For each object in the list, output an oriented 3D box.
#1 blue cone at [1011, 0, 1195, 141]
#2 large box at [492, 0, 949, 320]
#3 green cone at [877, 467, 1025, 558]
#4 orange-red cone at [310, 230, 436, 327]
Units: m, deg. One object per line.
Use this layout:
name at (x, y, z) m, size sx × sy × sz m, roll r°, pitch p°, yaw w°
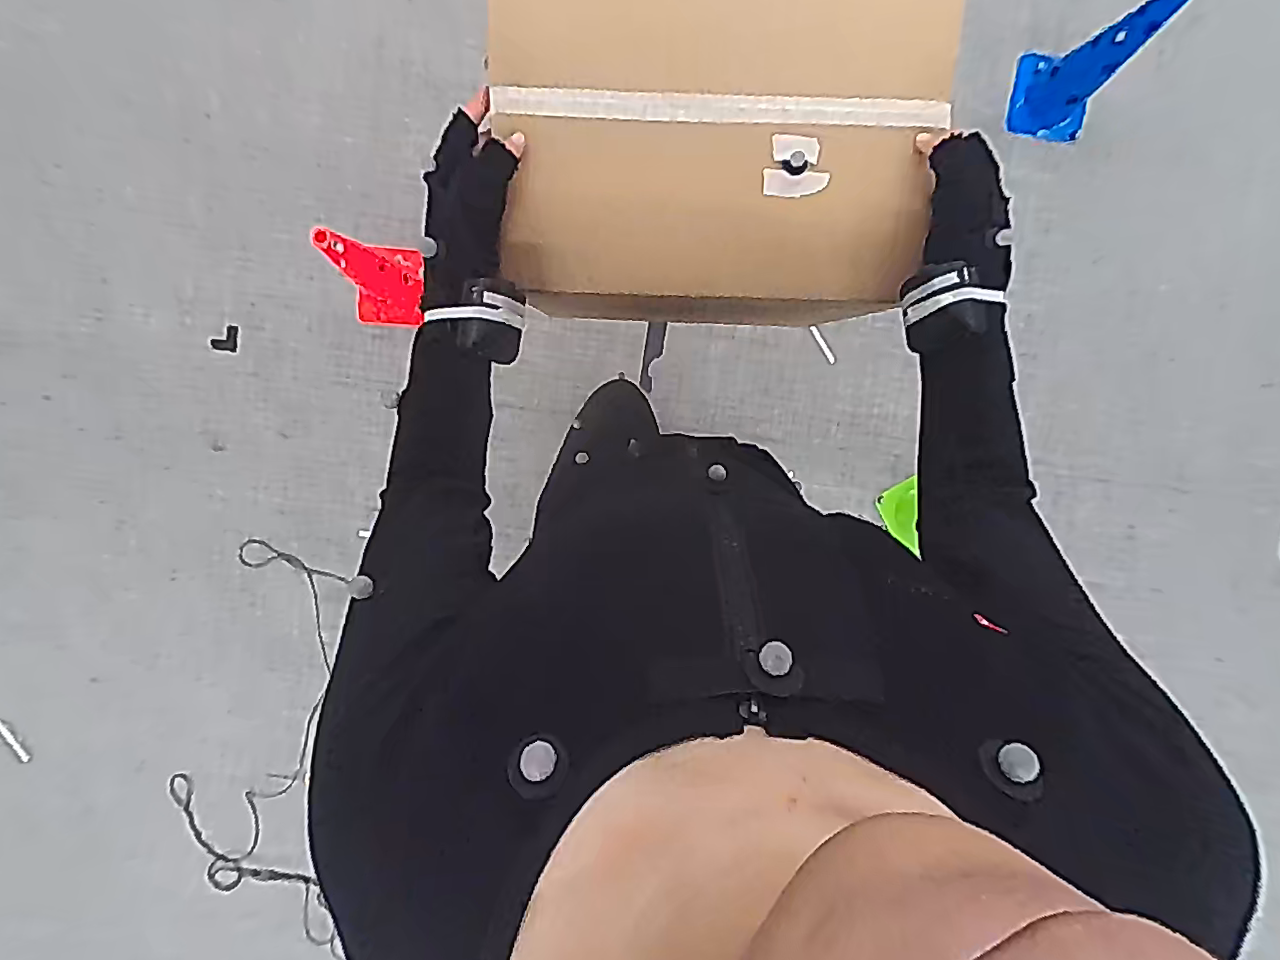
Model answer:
blue cone at (1.082, -0.987, 1.255) m, size 0.192 × 0.380 × 0.193 m, roll 11°, pitch 94°, yaw -3°
large box at (0.065, -0.361, 0.629) m, size 0.408 × 0.320 × 0.320 m, roll 1°, pitch 102°, yaw -2°
green cone at (0.779, 0.102, 1.314) m, size 0.202 × 0.368 × 0.200 m, roll -30°, pitch 95°, yaw 0°
orange-red cone at (-0.638, -0.492, 1.249) m, size 0.198 × 0.360 × 0.199 m, roll 5°, pitch 95°, yaw 0°
